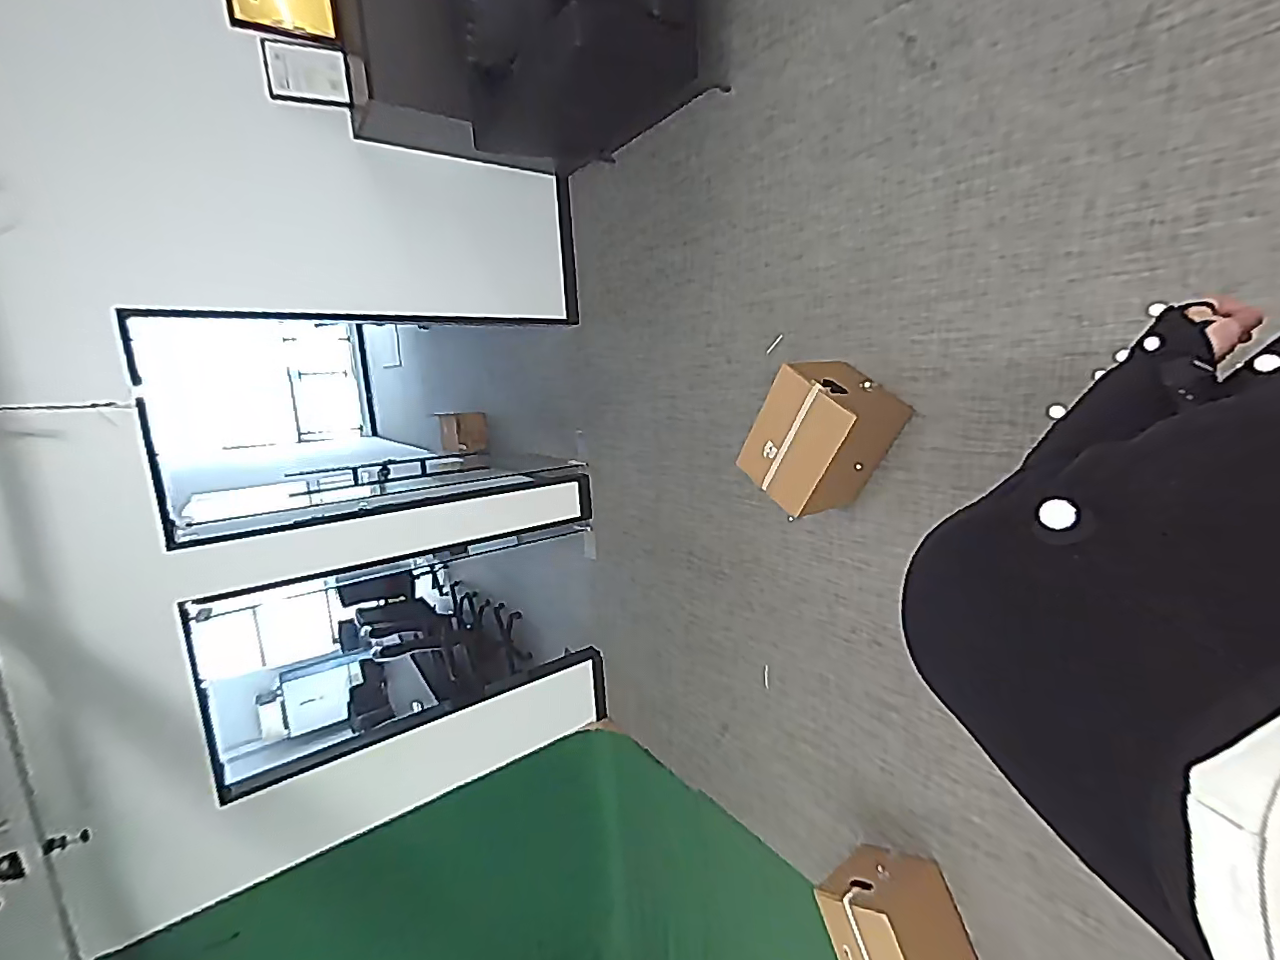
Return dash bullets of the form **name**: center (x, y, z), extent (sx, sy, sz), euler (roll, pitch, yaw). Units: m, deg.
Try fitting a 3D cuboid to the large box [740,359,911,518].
- **large box**: center (0.603, -0.148, 1.794), extent (0.320, 0.320, 0.408), euler (50, 137, 36)
